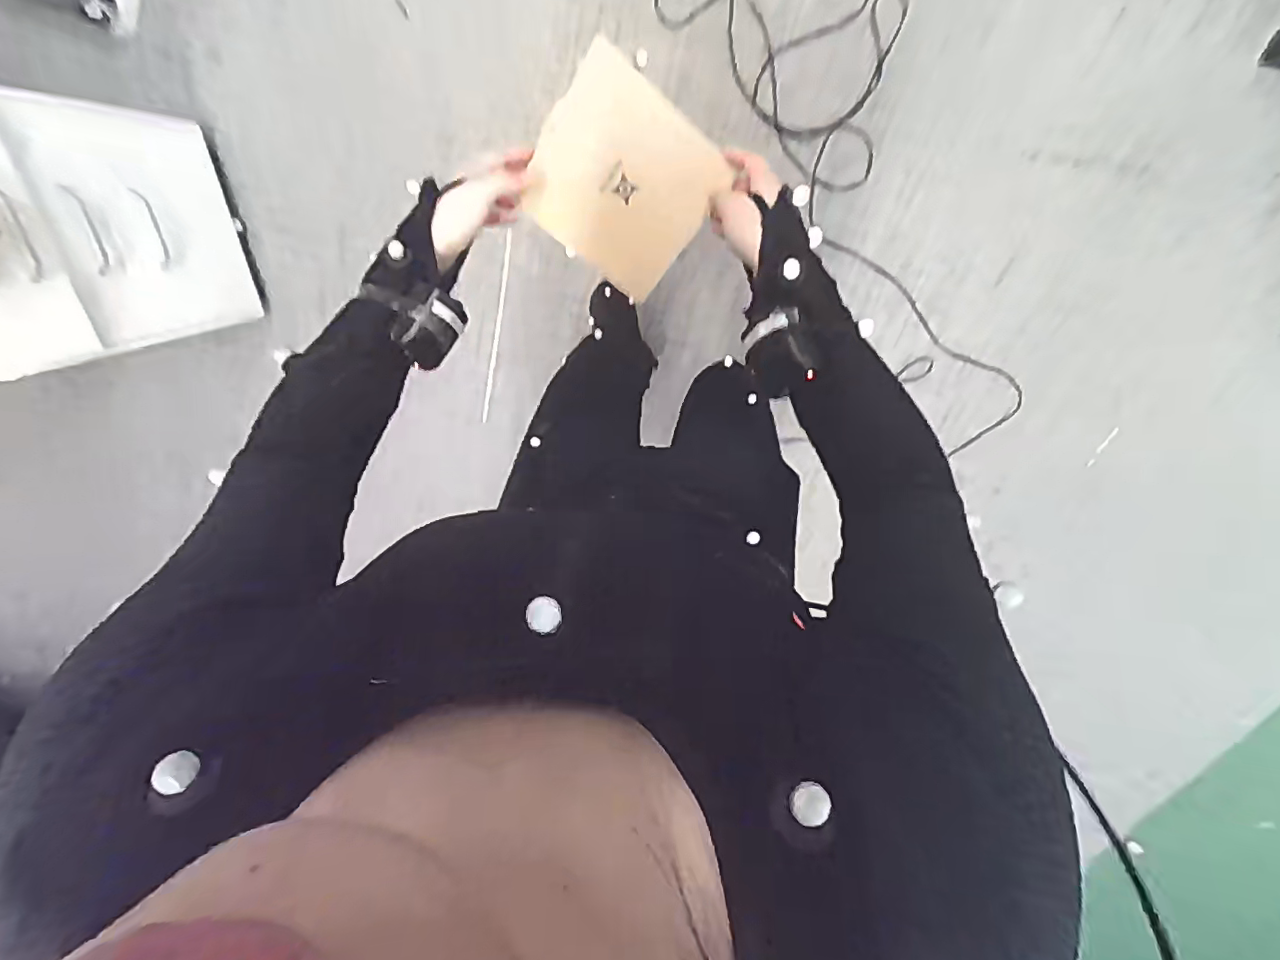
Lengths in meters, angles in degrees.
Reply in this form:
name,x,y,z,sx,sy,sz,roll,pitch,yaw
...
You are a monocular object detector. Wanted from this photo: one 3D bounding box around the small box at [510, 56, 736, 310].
name,x,y,z,sx,sy,sz,roll,pitch,yaw
small box,-0.013,-0.330,0.613,0.179,0.176,0.168,35,119,-16
